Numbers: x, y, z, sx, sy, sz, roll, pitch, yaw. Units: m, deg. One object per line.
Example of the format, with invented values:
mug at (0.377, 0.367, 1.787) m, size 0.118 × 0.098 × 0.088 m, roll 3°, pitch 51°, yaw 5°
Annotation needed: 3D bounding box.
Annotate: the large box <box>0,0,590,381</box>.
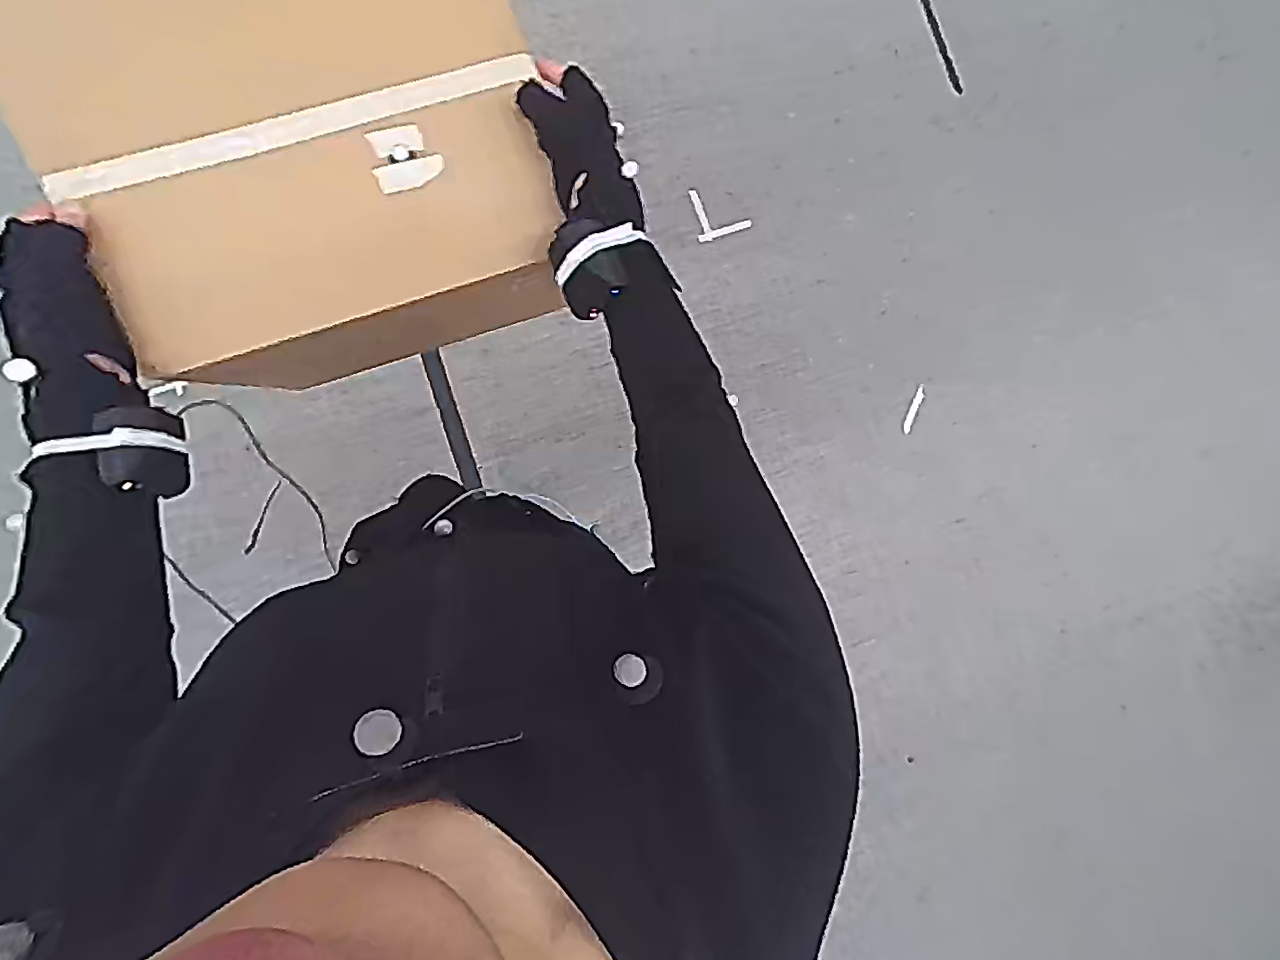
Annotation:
large box at (-0.308, -0.329, 0.612) m, size 0.408 × 0.320 × 0.320 m, roll -21°, pitch 101°, yaw -9°
